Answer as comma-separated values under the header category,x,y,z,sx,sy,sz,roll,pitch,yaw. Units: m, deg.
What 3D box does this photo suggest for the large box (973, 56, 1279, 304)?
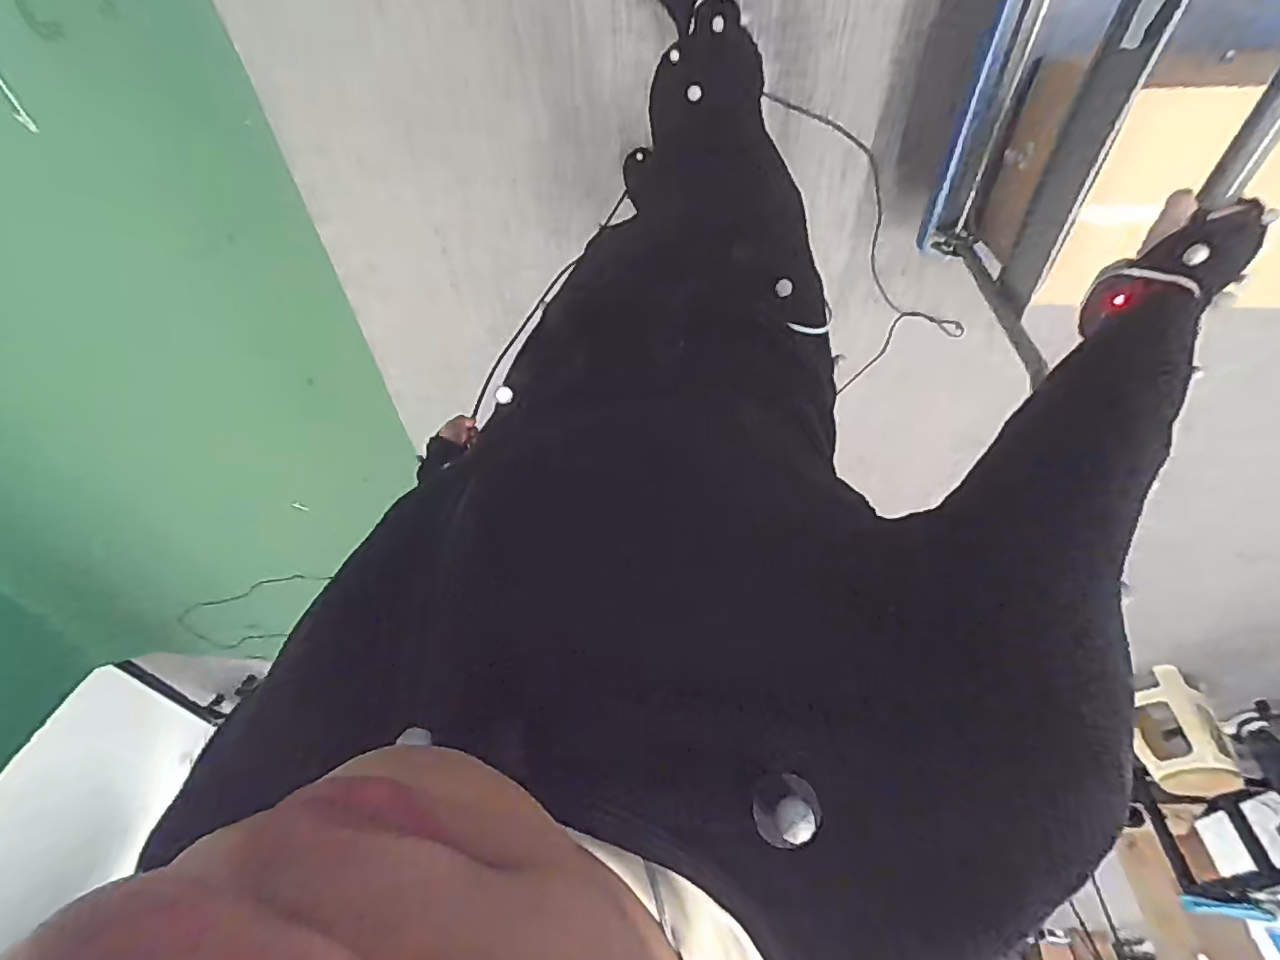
category,x,y,z,sx,sy,sz,roll,pitch,yaw
large box,0.886,-0.520,0.937,0.408,0.320,0.320,3,136,5
